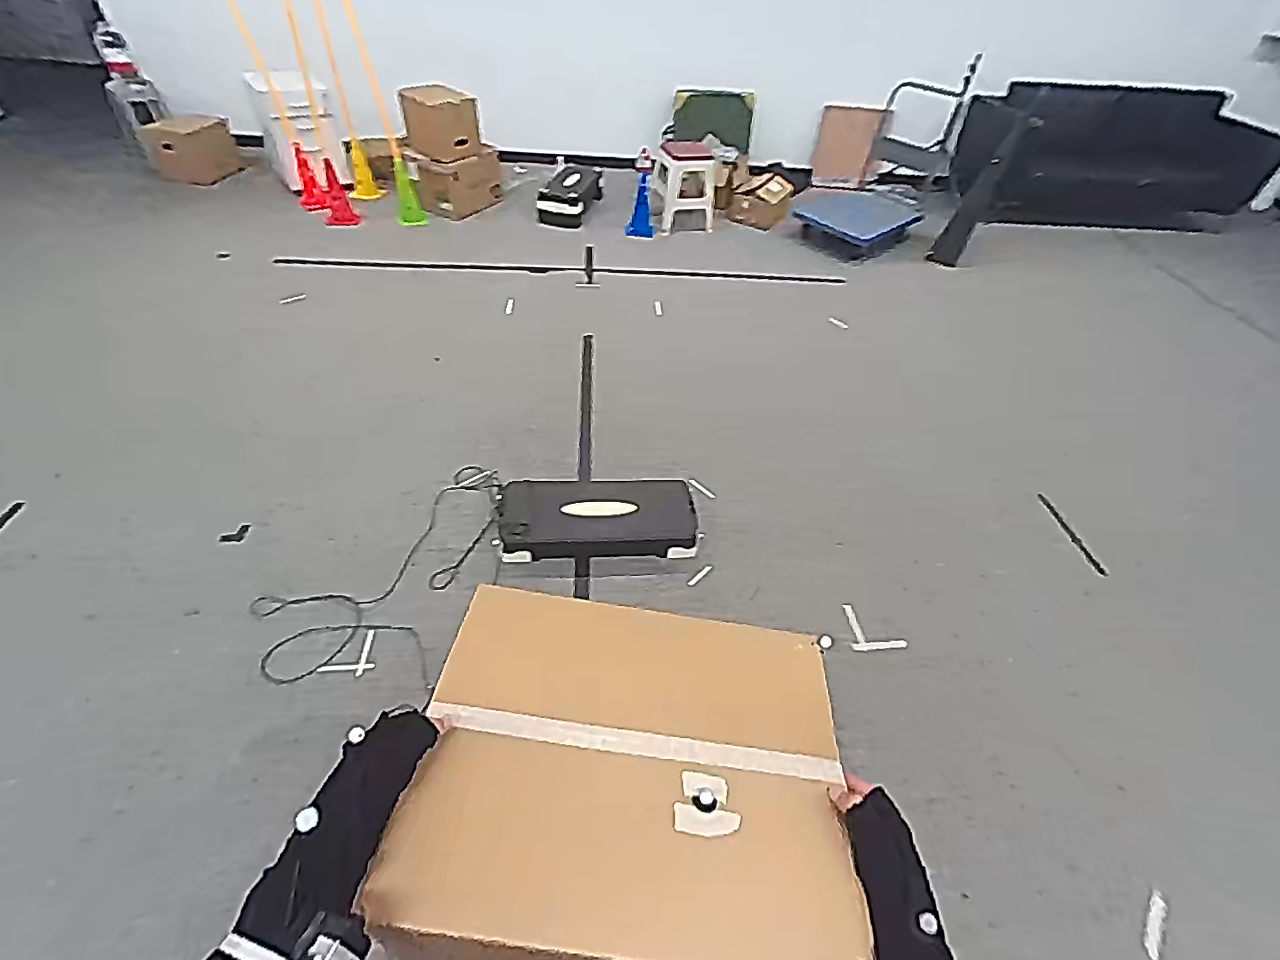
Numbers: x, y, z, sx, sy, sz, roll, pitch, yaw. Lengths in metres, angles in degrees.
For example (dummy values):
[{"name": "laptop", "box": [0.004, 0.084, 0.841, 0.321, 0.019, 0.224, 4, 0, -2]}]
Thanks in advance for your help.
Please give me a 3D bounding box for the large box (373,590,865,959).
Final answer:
[{"name": "large box", "box": [-0.024, 0.367, 0.632, 0.408, 0.320, 0.320, 9, 41, -1]}]
